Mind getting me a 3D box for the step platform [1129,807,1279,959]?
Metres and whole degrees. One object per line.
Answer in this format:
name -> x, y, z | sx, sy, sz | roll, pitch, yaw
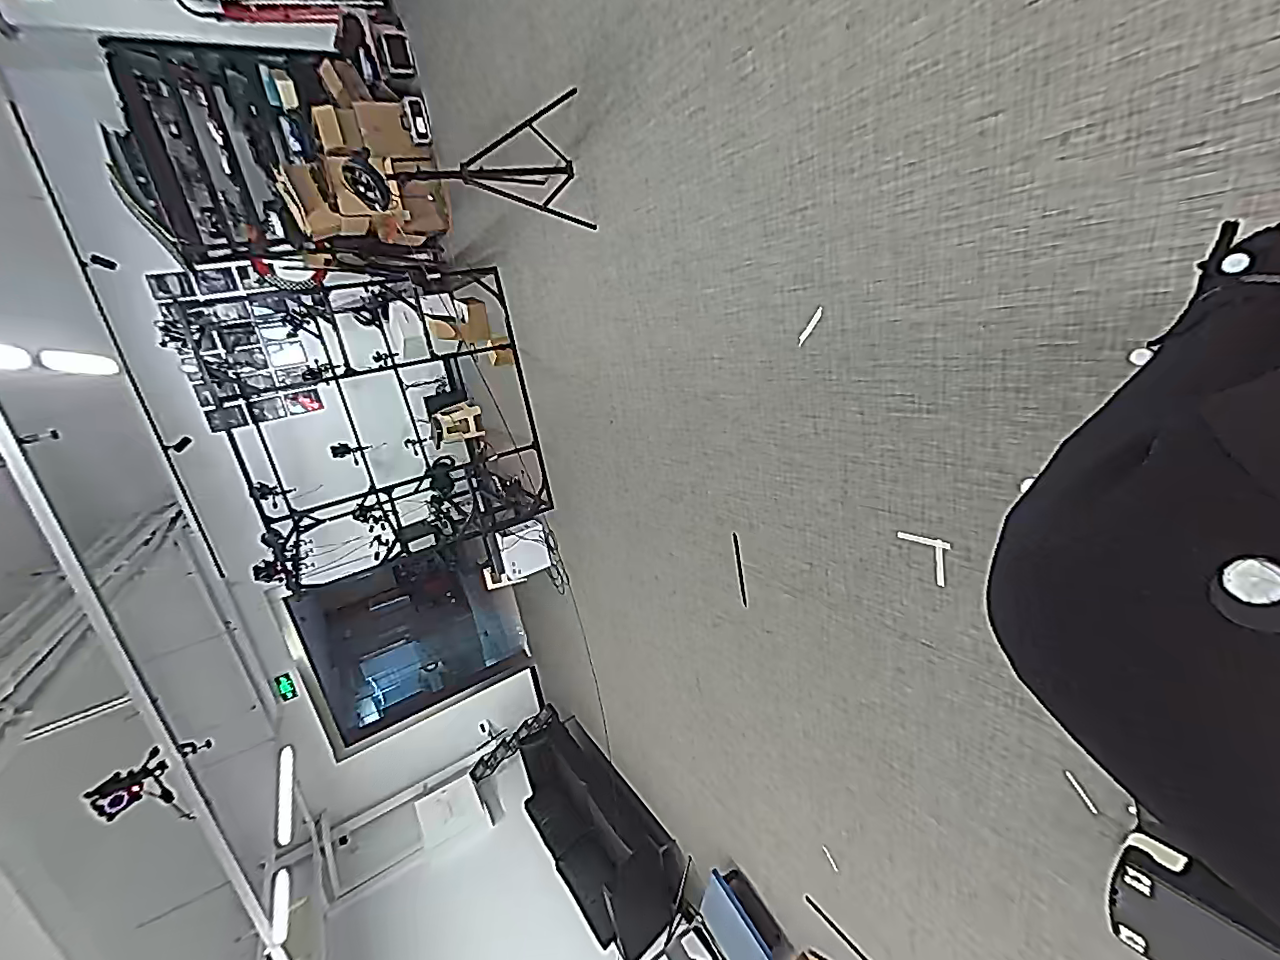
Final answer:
step platform -> 1.438, 1.016, 1.080 | 0.684, 0.204, 0.286 | 18, 122, 59
